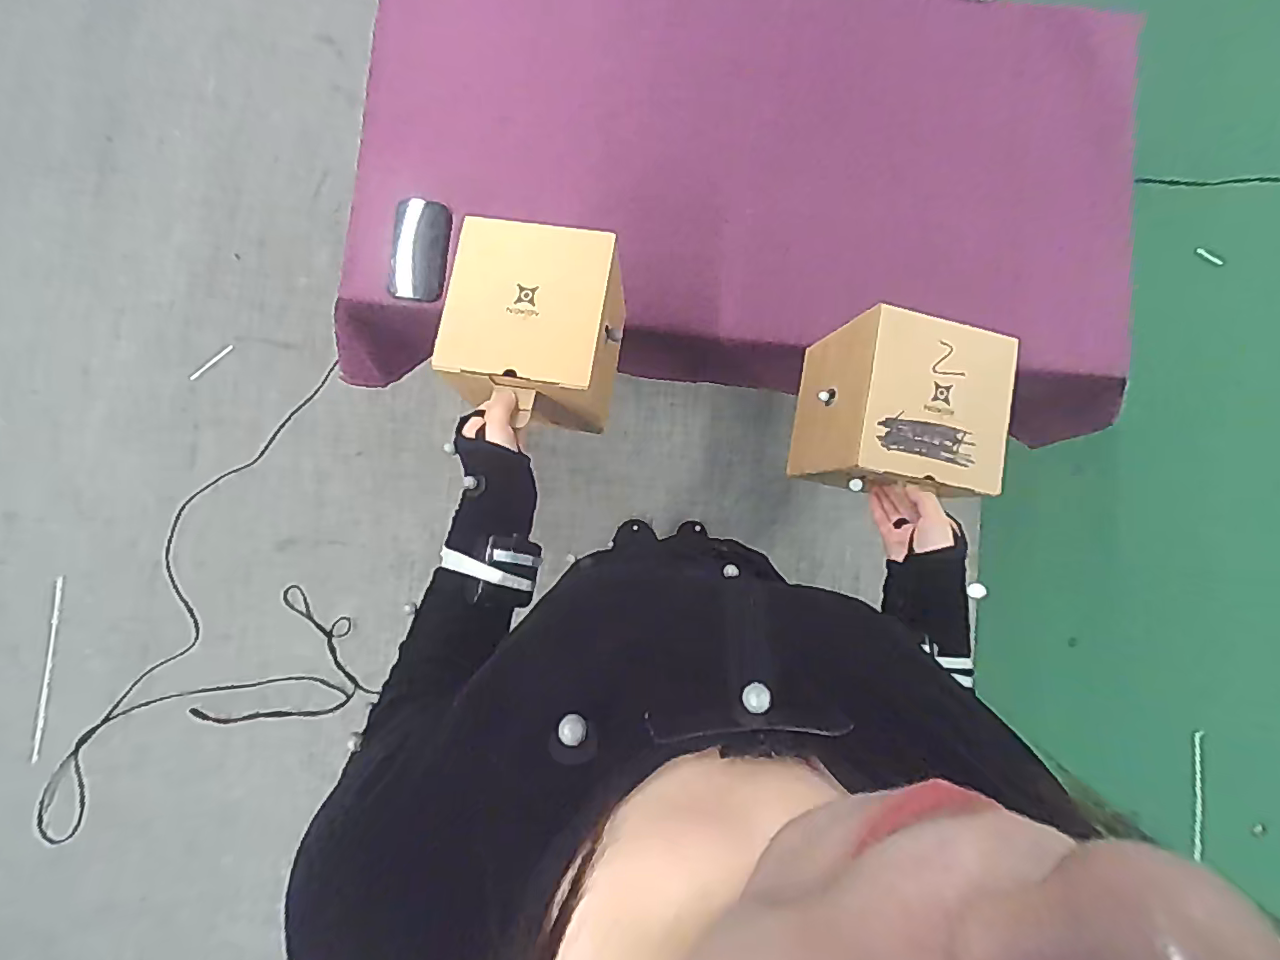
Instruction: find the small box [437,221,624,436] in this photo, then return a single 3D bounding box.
[{"bbox_3d":[-0.112,-0.166,0.636,0.168,0.176,0.179,8,80,3],"label":"small box"}]
